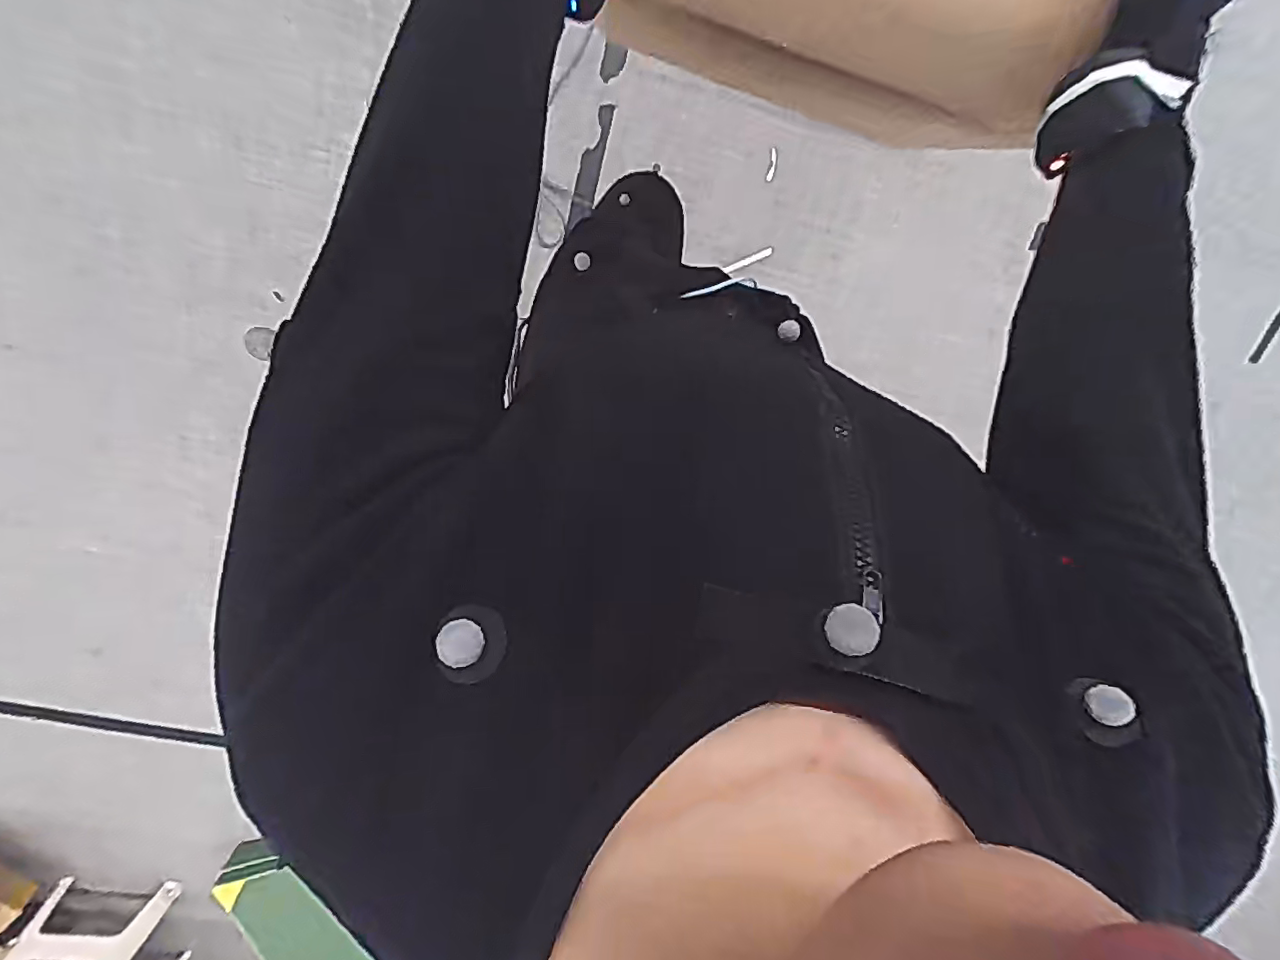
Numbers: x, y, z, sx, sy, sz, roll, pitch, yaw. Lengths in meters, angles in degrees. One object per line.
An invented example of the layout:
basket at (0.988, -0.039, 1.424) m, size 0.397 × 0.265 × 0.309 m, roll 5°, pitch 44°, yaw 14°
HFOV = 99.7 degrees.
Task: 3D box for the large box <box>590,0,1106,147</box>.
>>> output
large box at (0.182, -0.536, 0.493) m, size 0.408 × 0.320 × 0.320 m, roll 13°, pitch 121°, yaw -9°
